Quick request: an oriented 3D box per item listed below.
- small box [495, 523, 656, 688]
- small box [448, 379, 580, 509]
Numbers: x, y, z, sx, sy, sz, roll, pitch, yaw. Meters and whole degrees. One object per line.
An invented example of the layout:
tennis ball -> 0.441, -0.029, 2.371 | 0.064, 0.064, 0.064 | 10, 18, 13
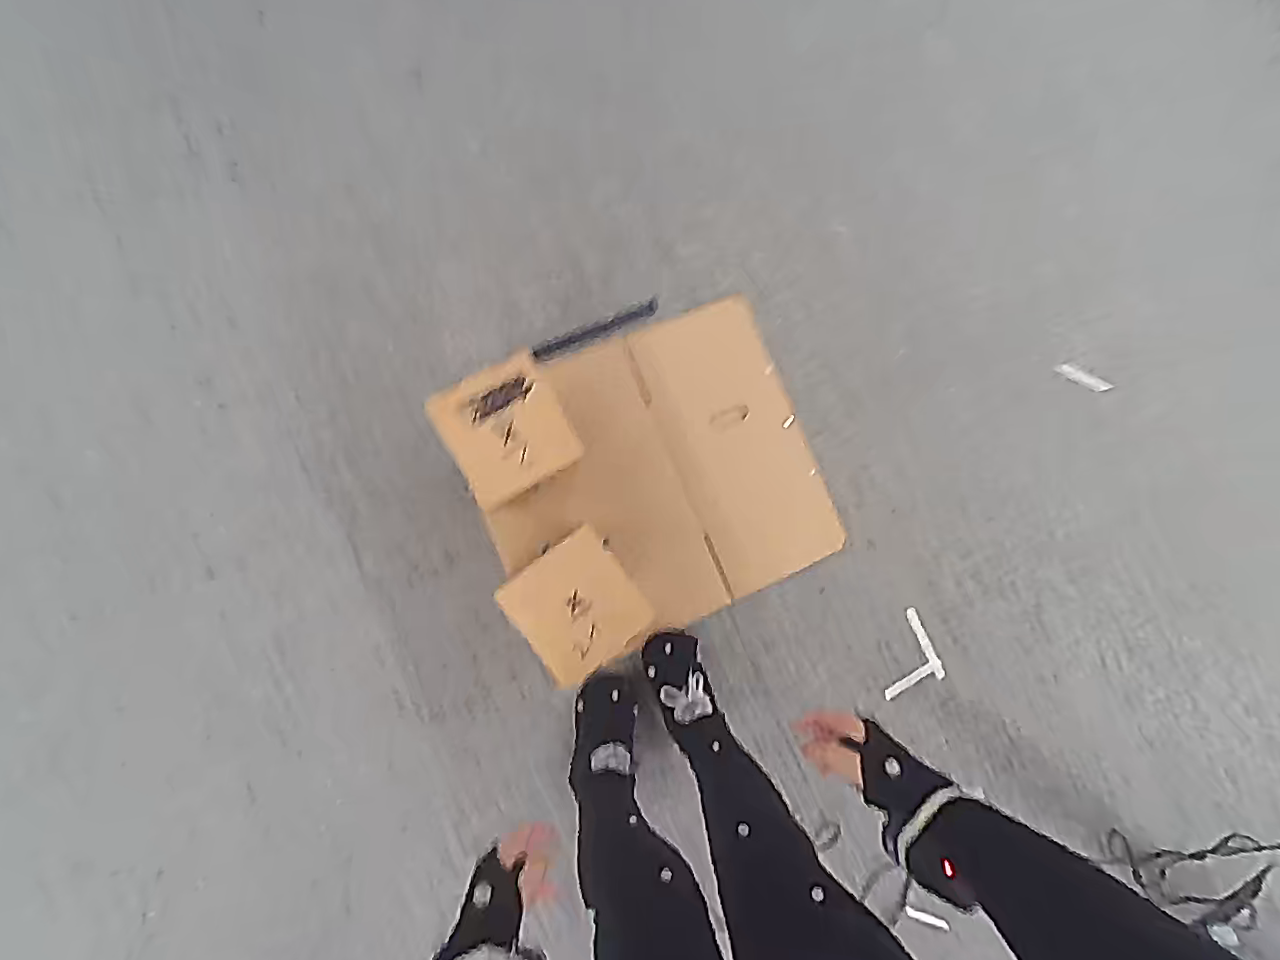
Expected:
small box -> -0.103, 0.184, 0.844 | 0.168, 0.176, 0.179 | -38, 92, -9
small box -> -0.231, -0.058, 1.013 | 0.168, 0.176, 0.179 | -33, 92, -10
